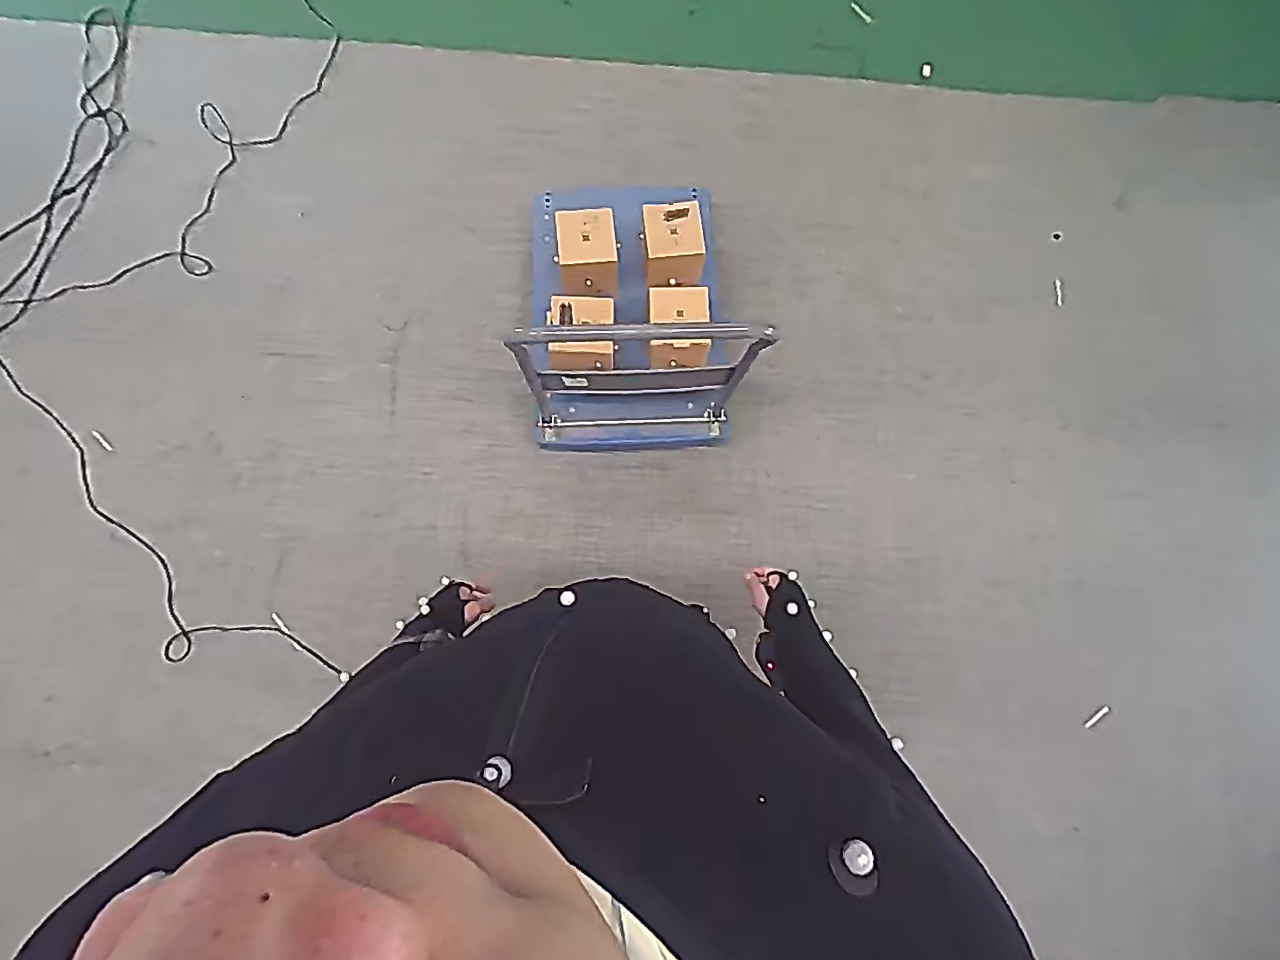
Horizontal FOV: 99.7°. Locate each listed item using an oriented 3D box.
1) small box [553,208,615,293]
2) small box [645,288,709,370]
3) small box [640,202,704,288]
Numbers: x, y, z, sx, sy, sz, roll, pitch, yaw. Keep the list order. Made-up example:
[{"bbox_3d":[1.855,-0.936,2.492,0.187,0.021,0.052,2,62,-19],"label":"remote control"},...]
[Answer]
[{"bbox_3d":[-0.161,-0.671,1.605,0.168,0.176,0.179,-5,78,-4],"label":"small box"},{"bbox_3d":[0.103,-0.433,1.563,0.168,0.176,0.179,-1,78,-2],"label":"small box"},{"bbox_3d":[0.089,-0.698,1.619,0.168,0.176,0.179,-6,79,-2],"label":"small box"}]
